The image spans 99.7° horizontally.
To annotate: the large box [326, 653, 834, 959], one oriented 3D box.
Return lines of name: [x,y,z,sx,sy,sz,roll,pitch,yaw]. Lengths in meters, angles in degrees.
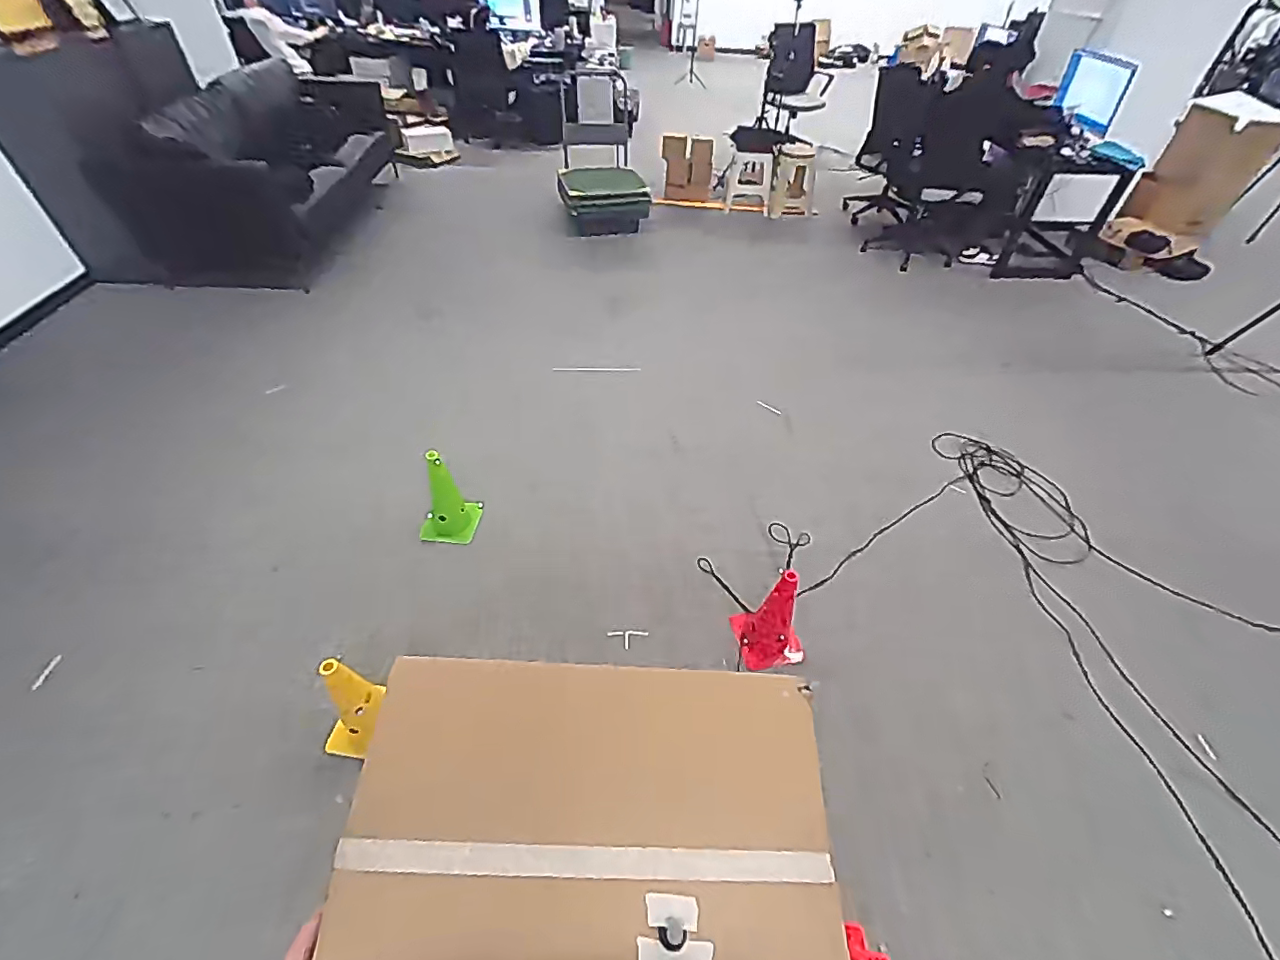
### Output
large box: [-0.053,0.392,0.586,0.408,0.320,0.320,4,57,-3]

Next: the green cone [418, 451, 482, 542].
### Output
green cone: [-0.722,0.034,1.953,0.200,0.368,0.202,5,47,2]
